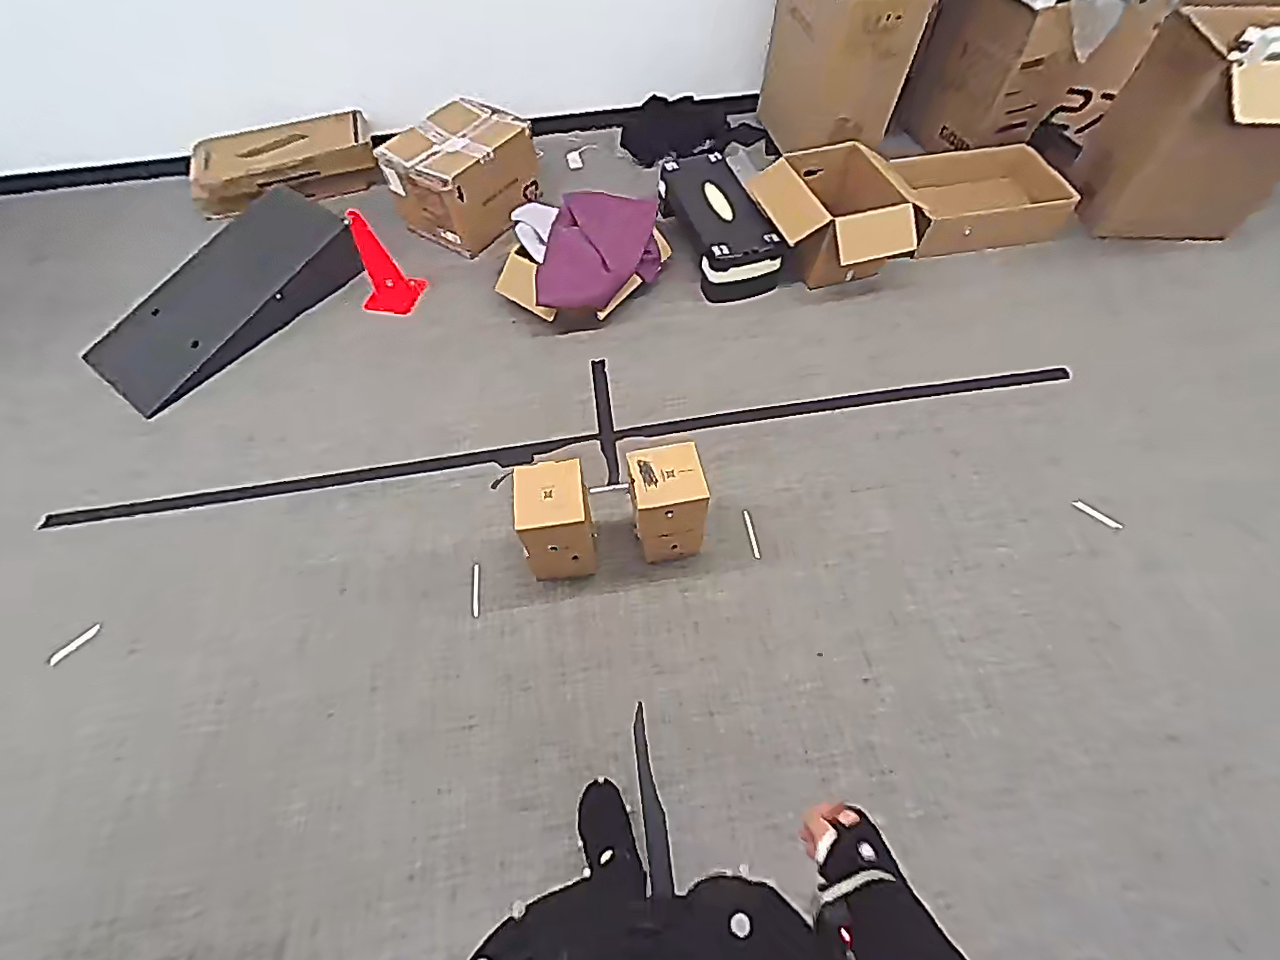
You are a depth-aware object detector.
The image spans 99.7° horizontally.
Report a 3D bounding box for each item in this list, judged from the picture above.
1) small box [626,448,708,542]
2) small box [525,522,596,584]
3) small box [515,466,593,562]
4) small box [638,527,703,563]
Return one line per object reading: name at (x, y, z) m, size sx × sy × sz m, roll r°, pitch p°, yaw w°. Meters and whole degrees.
small box at (0.065, 0.043, 1.386) m, size 0.179 × 0.176 × 0.168 m, roll -10°, pitch 59°, yaw -5°
small box at (-0.218, 0.177, 1.505) m, size 0.179 × 0.176 × 0.168 m, roll -7°, pitch 59°, yaw -2°
small box at (-0.215, 0.088, 1.368) m, size 0.168 × 0.176 × 0.179 m, roll -9°, pitch 60°, yaw -2°
small box at (0.075, 0.125, 1.531) m, size 0.168 × 0.176 × 0.179 m, roll -10°, pitch 60°, yaw -5°
